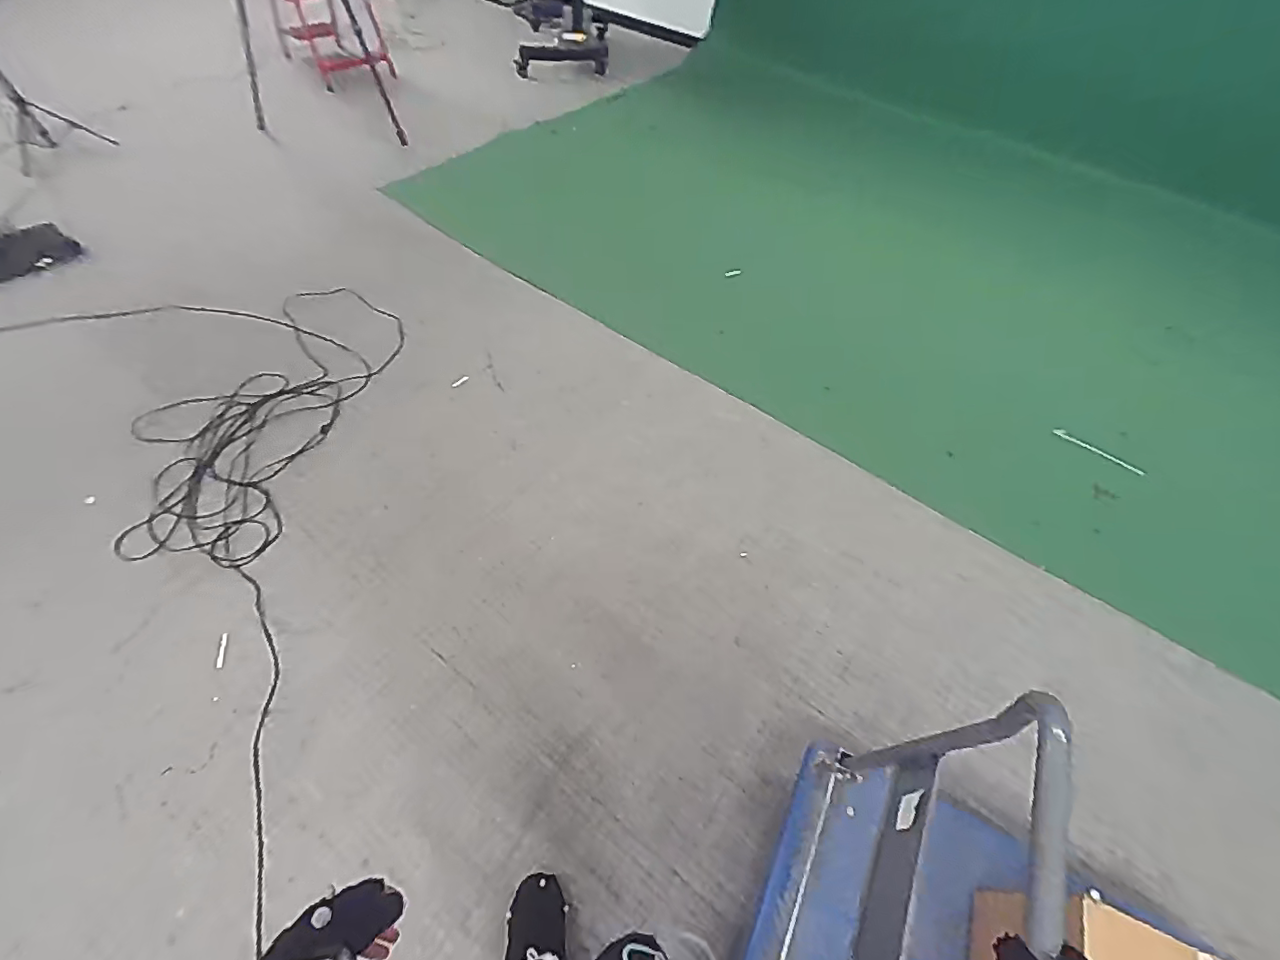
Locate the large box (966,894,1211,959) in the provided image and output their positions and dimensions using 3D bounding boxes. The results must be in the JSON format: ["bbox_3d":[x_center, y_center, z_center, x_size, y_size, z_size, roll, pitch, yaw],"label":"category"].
[{"bbox_3d":[0.702,0.908,0.786,0.320,0.320,0.408,22,55,12],"label":"large box"}]
